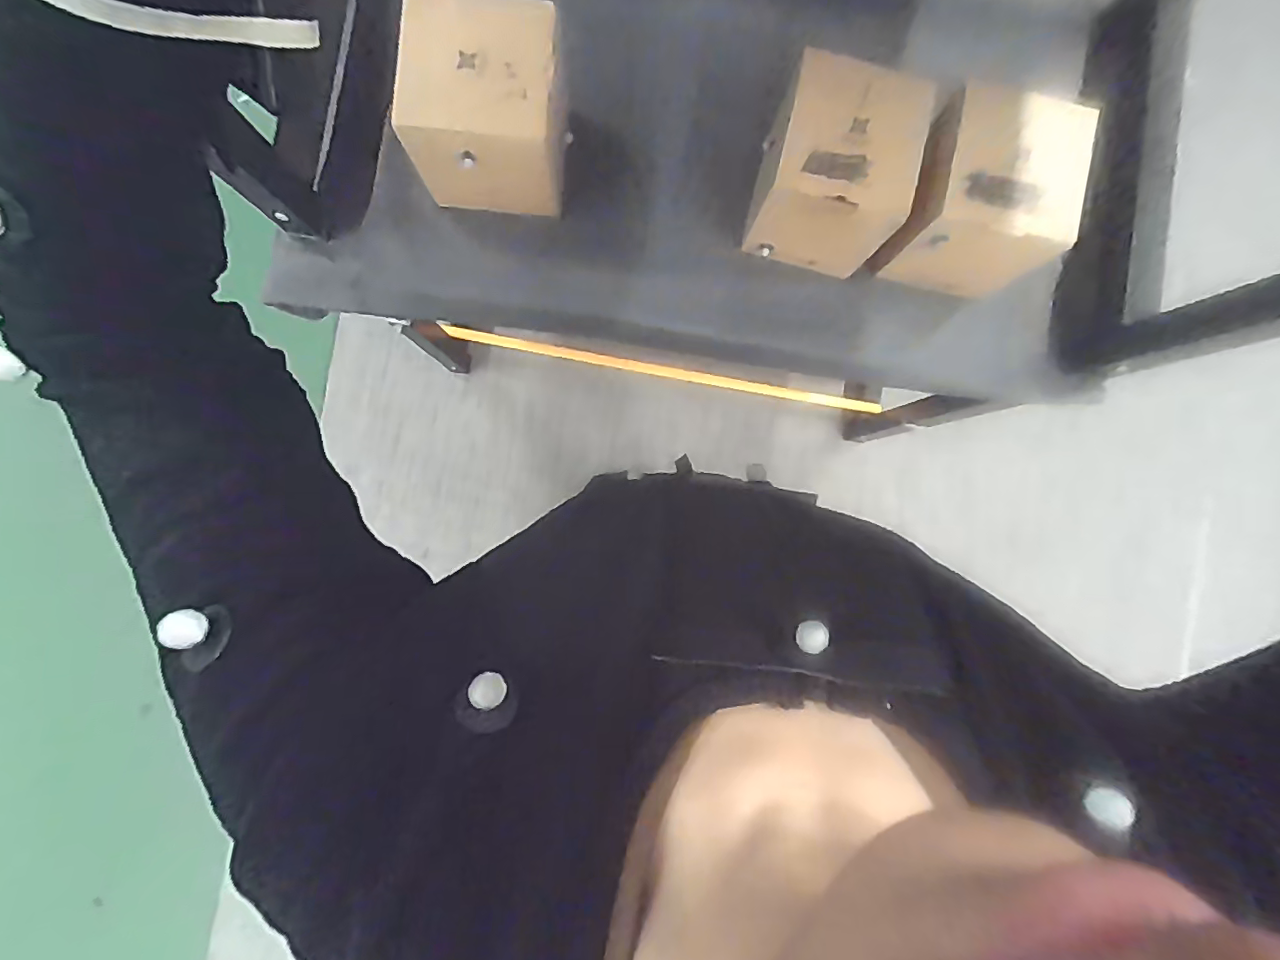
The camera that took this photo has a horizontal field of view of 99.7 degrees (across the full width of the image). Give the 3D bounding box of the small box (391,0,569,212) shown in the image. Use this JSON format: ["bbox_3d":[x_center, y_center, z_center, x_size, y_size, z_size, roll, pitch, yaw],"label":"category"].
[{"bbox_3d":[-0.191,-0.470,0.695,0.179,0.176,0.168,5,88,-3],"label":"small box"}]
